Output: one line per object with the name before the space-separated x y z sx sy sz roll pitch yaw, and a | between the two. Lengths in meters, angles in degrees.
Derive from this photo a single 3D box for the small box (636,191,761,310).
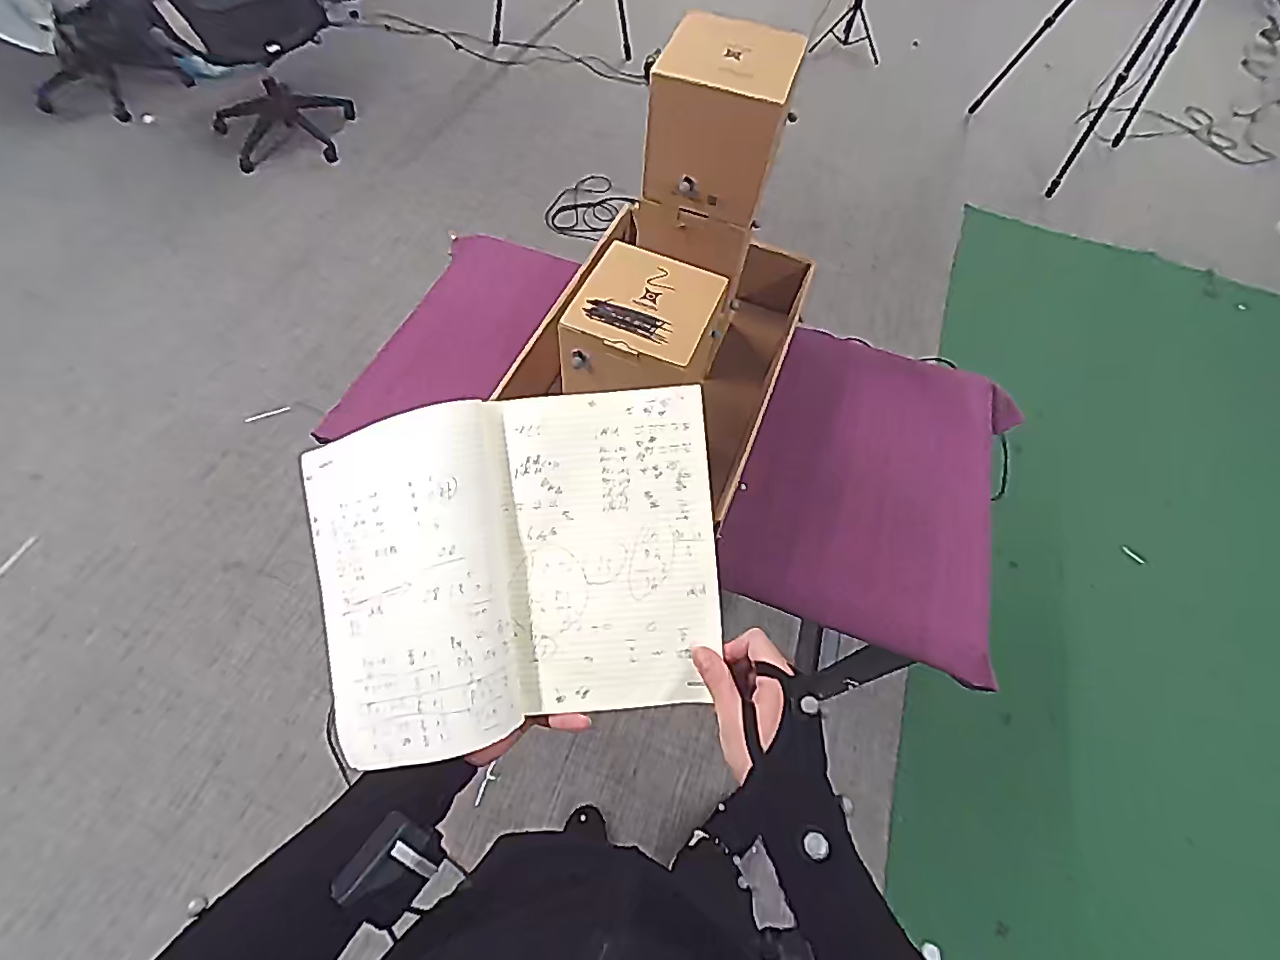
small box | 0.096 -0.413 0.891 0.168 0.176 0.179 19 61 5

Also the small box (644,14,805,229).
small box | 0.109 -0.489 0.748 0.168 0.176 0.179 18 63 6

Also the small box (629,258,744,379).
small box | 0.082 -0.328 1.032 0.168 0.176 0.179 19 63 6
